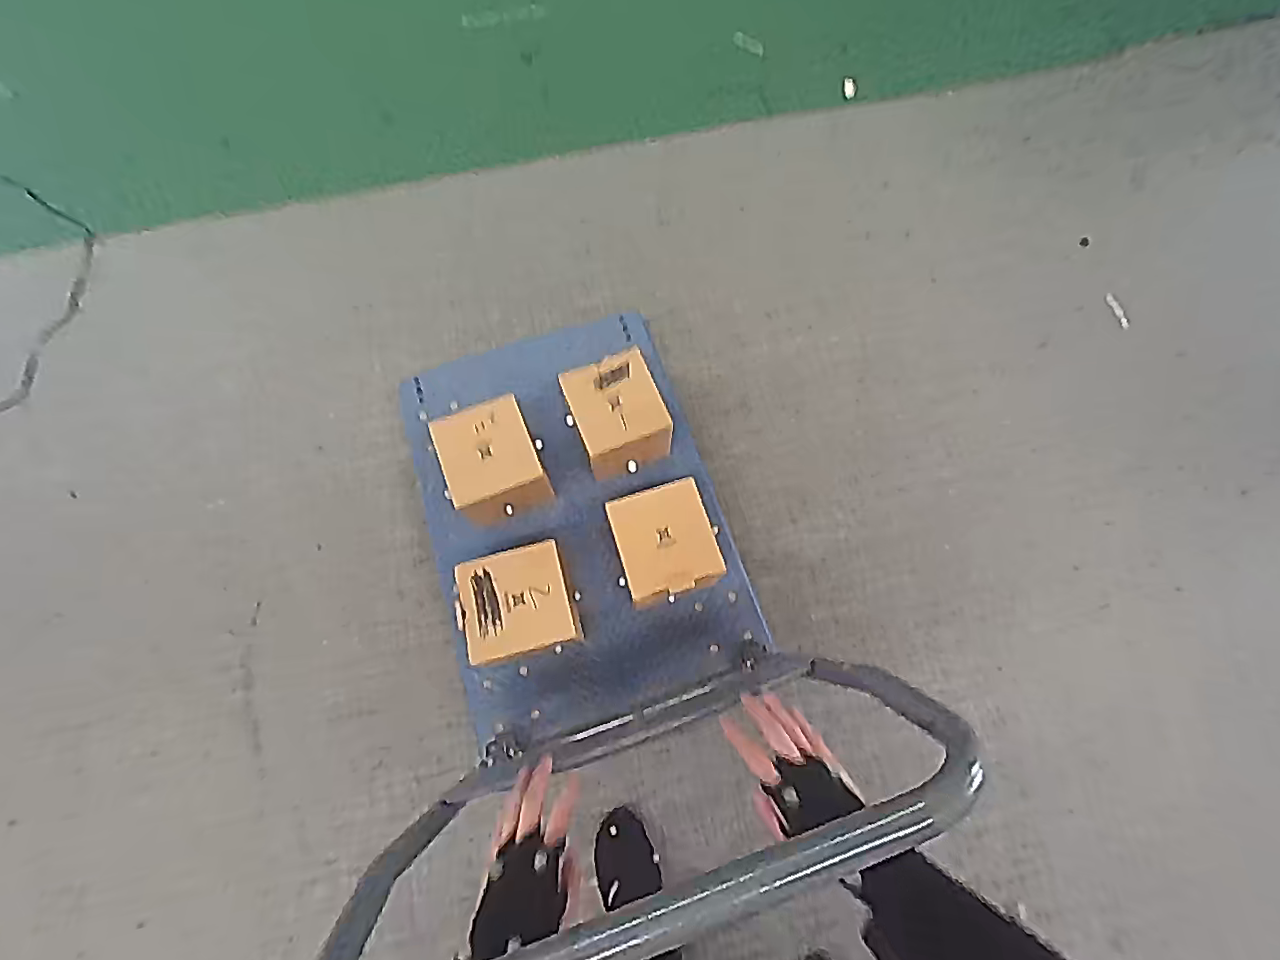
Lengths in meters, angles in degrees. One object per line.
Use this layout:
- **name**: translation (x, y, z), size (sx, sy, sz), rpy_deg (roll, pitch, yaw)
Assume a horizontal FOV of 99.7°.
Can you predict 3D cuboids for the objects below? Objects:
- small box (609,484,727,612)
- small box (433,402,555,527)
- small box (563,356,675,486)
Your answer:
- **small box**: translation (0.044, 0.132, 1.001), size (0.168, 0.176, 0.179), rpy_deg (-17, 73, -6)
- **small box**: translation (-0.275, -0.019, 1.050), size (0.168, 0.176, 0.179), rpy_deg (-21, 73, -7)
- **small box**: translation (-0.042, -0.112, 1.080), size (0.168, 0.176, 0.179), rpy_deg (-21, 74, -6)
